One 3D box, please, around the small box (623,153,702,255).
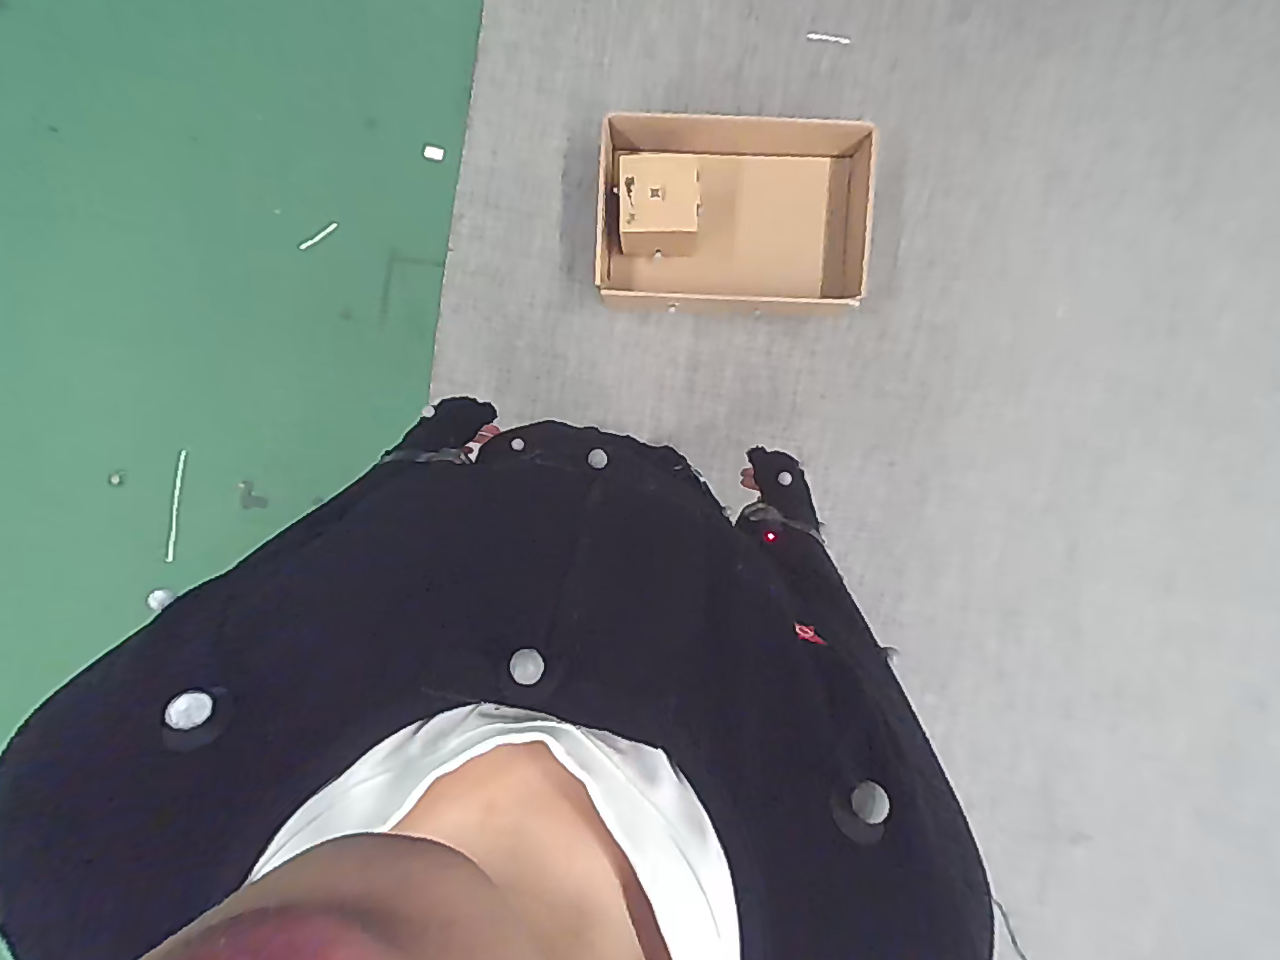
[{"bbox_3d":[0.048,-0.643,1.275,0.179,0.176,0.168,0,94,0],"label":"small box"}]
